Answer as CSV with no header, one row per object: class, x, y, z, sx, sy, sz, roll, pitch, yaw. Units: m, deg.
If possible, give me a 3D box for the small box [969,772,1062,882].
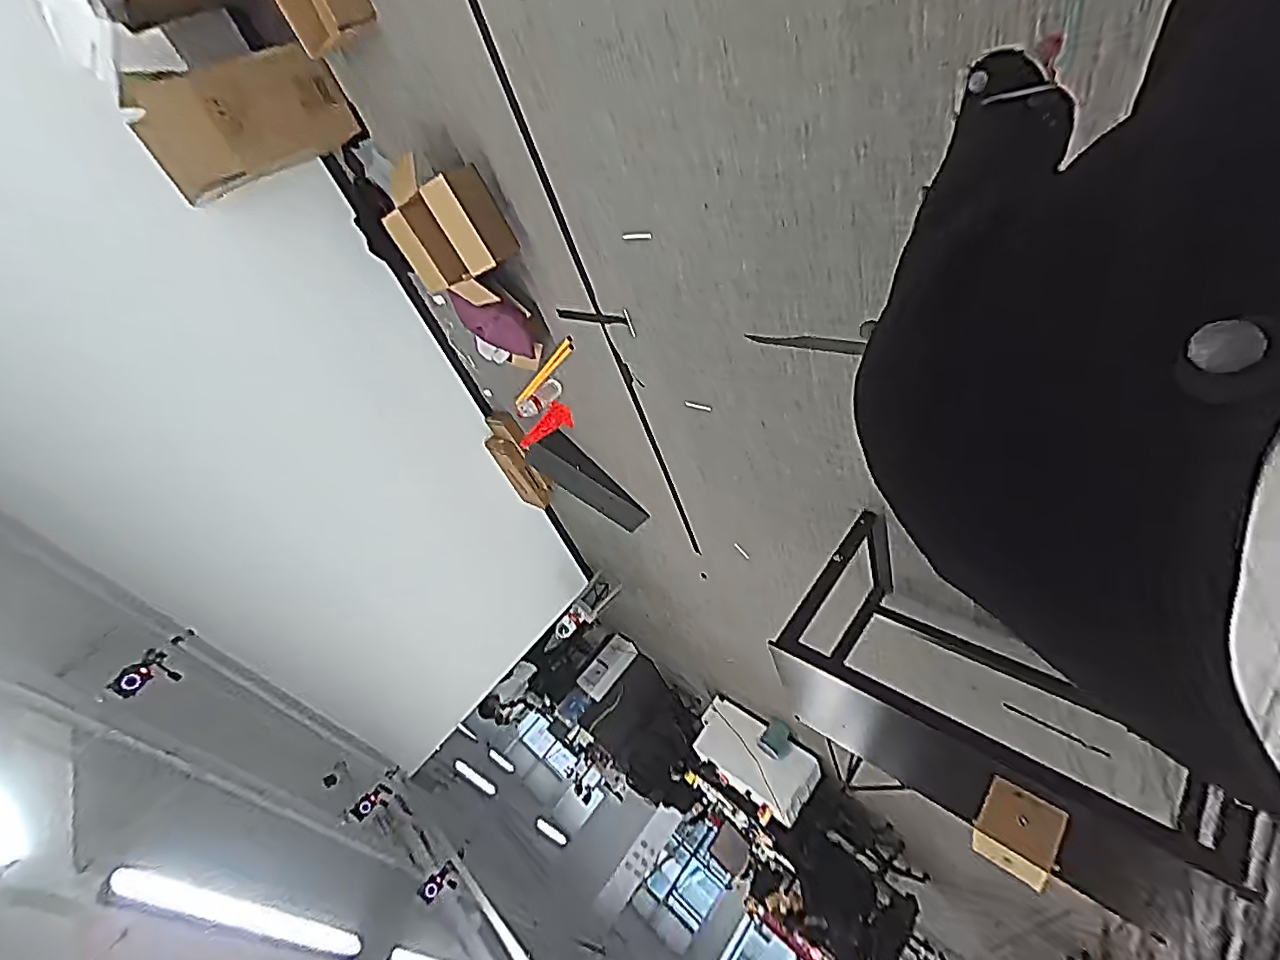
small box,1.025,0.941,1.477,0.168,0.176,0.179,20,147,42
